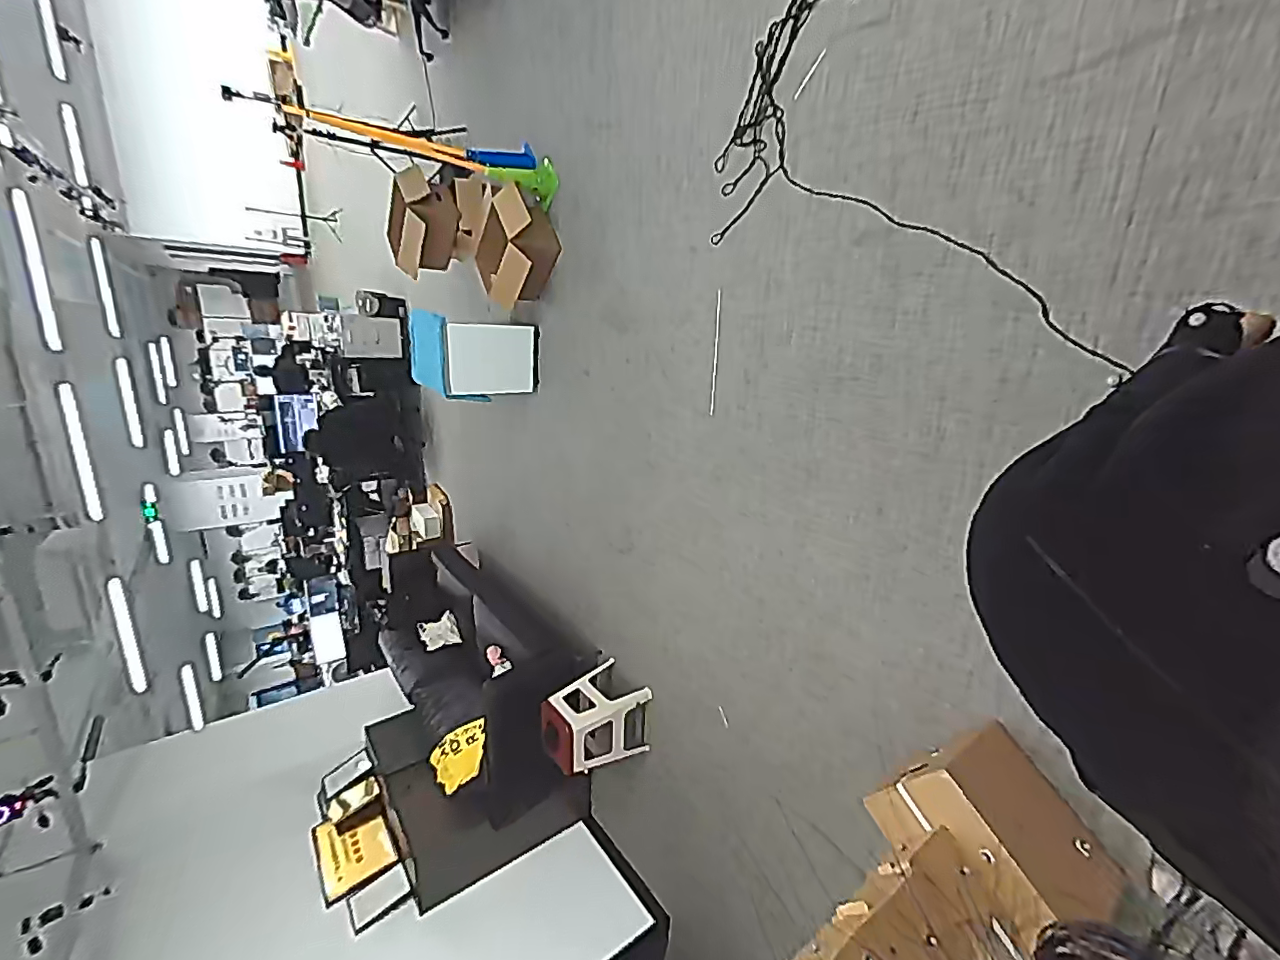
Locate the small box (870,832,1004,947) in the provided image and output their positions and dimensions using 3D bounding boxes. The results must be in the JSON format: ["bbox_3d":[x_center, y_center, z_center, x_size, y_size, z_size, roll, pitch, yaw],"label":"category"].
[{"bbox_3d":[0.687,0.956,1.255,0.179,0.176,0.168,55,138,32],"label":"small box"}]

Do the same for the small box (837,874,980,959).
[{"bbox_3d":[0.565,0.973,1.144,0.179,0.176,0.168,57,138,28],"label":"small box"}]

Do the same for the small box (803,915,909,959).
[{"bbox_3d":[0.432,0.994,1.053,0.168,0.176,0.179,56,138,30],"label":"small box"}]
